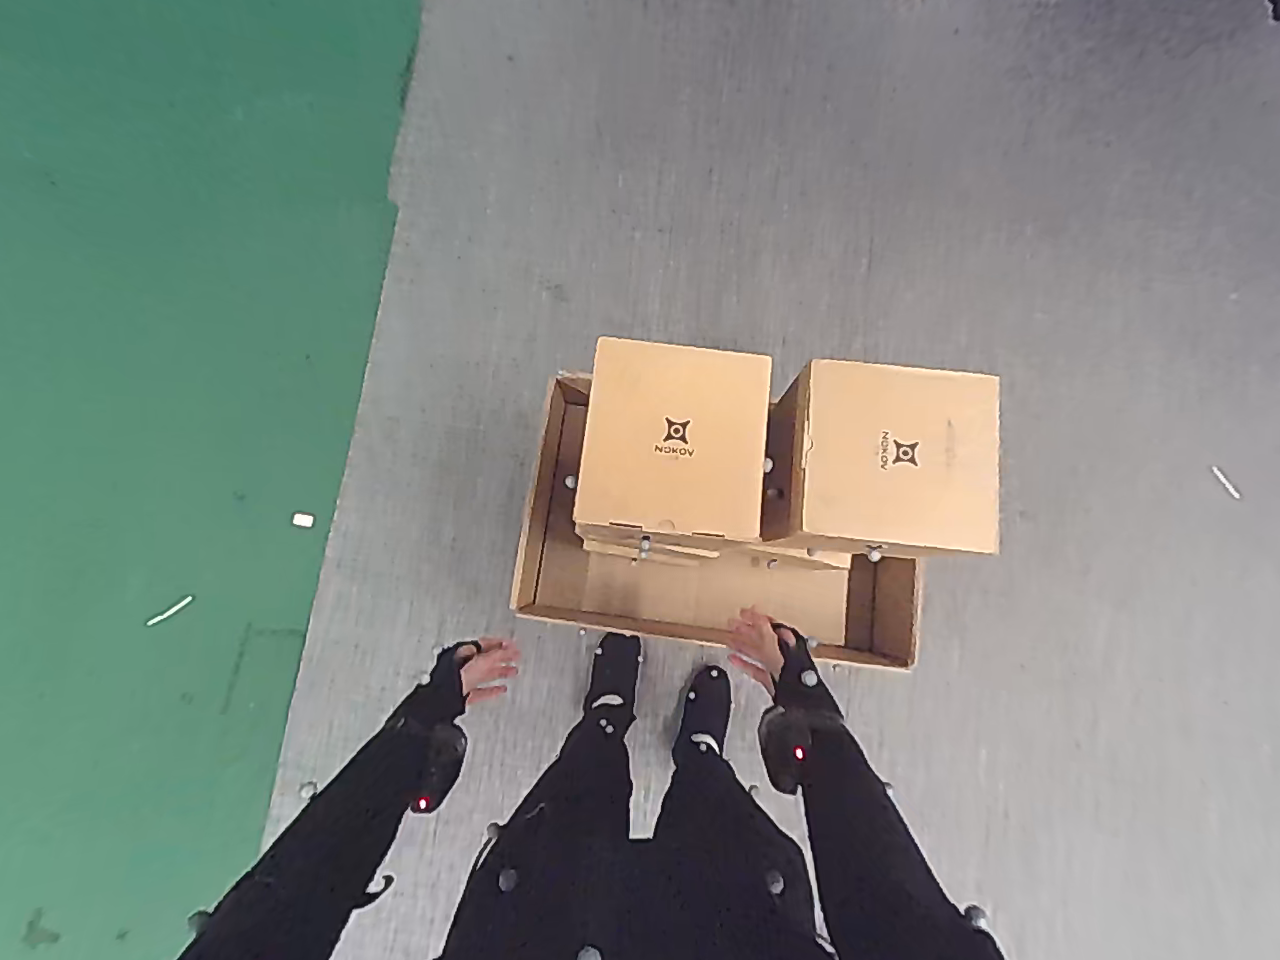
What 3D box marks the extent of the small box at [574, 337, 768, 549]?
[{"bbox_3d":[0.028,-0.026,0.567,0.168,0.176,0.179,6,80,0],"label":"small box"}]
